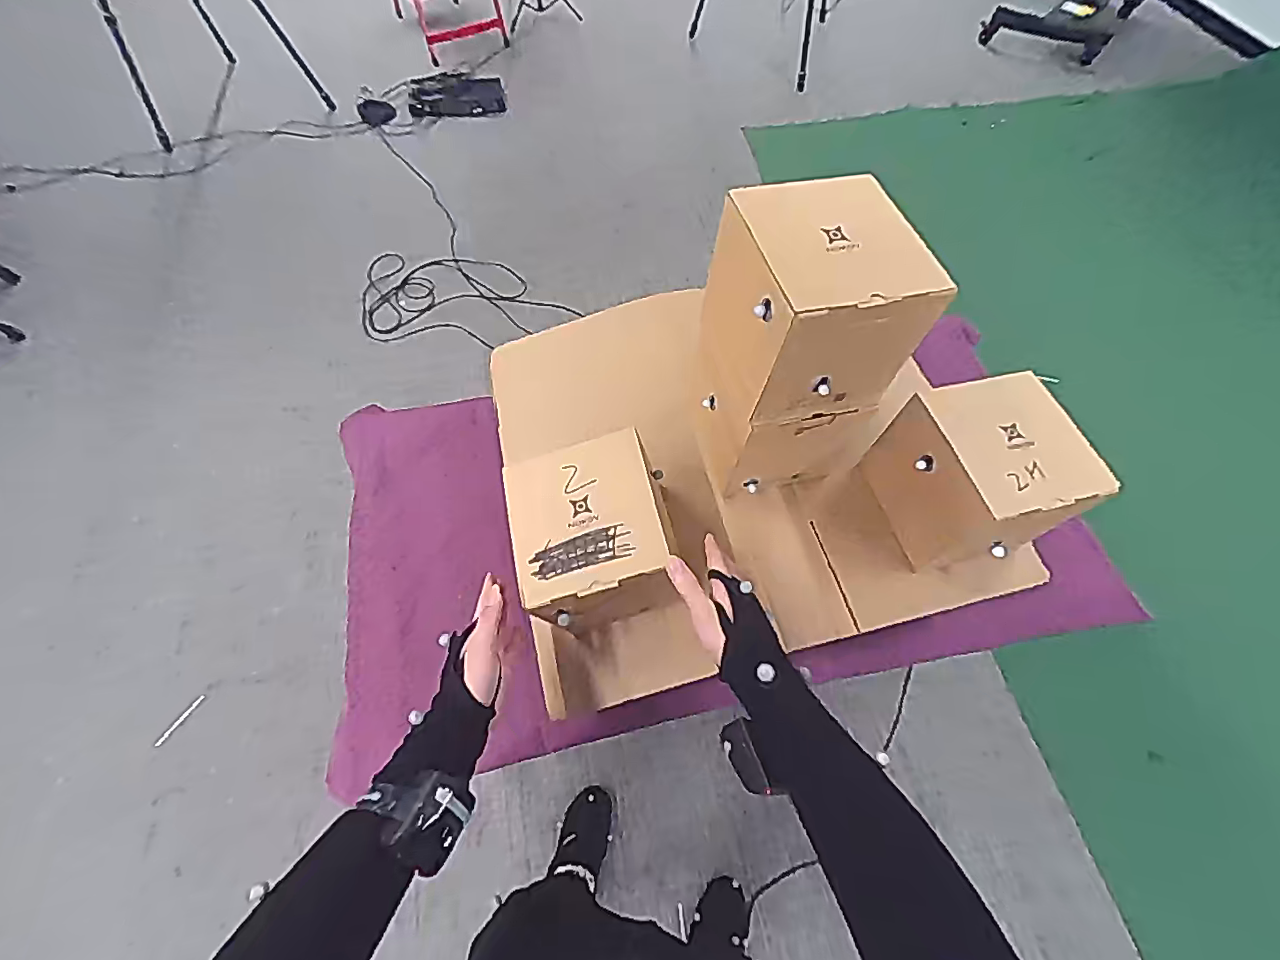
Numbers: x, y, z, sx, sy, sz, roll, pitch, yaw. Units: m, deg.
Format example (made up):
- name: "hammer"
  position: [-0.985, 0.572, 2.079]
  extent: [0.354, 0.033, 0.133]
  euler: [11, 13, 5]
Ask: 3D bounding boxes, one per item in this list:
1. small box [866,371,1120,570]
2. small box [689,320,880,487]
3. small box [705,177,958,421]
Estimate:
- name: "small box"
  position: [0.420, -0.008, 0.683]
  extent: [0.168, 0.176, 0.179]
  euler: [-11, 63, -10]
- name: "small box"
  position: [0.175, -0.105, 0.717]
  extent: [0.168, 0.176, 0.179]
  euler: [-11, 62, -11]
- name: "small box"
  position: [0.182, -0.189, 0.580]
  extent: [0.168, 0.176, 0.179]
  euler: [-12, 63, -12]
